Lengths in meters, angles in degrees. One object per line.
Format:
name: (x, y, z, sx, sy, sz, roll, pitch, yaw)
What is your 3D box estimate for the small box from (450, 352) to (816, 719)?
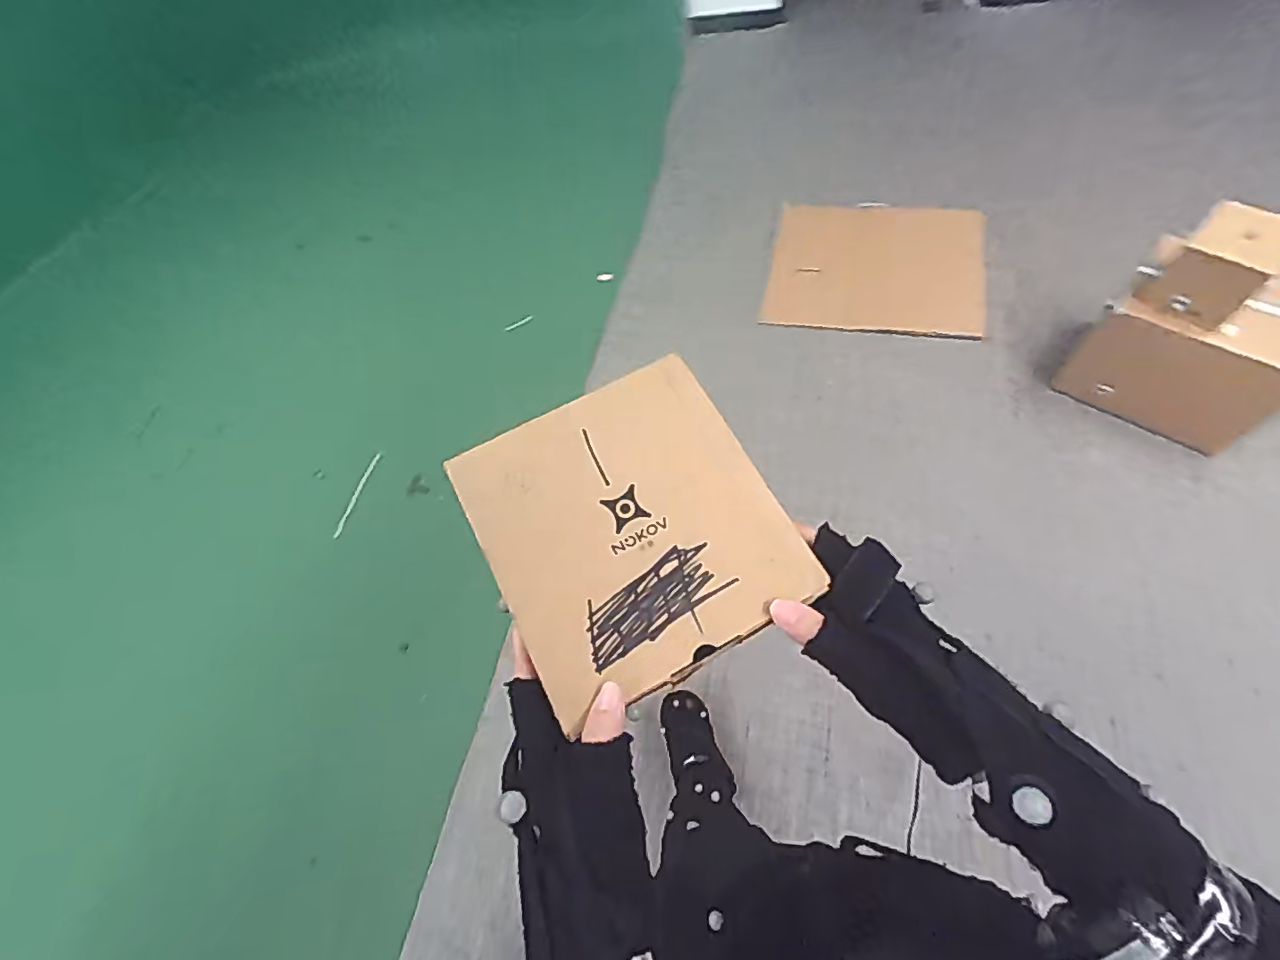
small box: (-0.006, 0.046, 0.401, 0.168, 0.176, 0.179, -29, 73, -9)

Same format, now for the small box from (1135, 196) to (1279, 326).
small box: (1.267, -0.481, 1.199, 0.179, 0.176, 0.168, -45, 62, -11)
